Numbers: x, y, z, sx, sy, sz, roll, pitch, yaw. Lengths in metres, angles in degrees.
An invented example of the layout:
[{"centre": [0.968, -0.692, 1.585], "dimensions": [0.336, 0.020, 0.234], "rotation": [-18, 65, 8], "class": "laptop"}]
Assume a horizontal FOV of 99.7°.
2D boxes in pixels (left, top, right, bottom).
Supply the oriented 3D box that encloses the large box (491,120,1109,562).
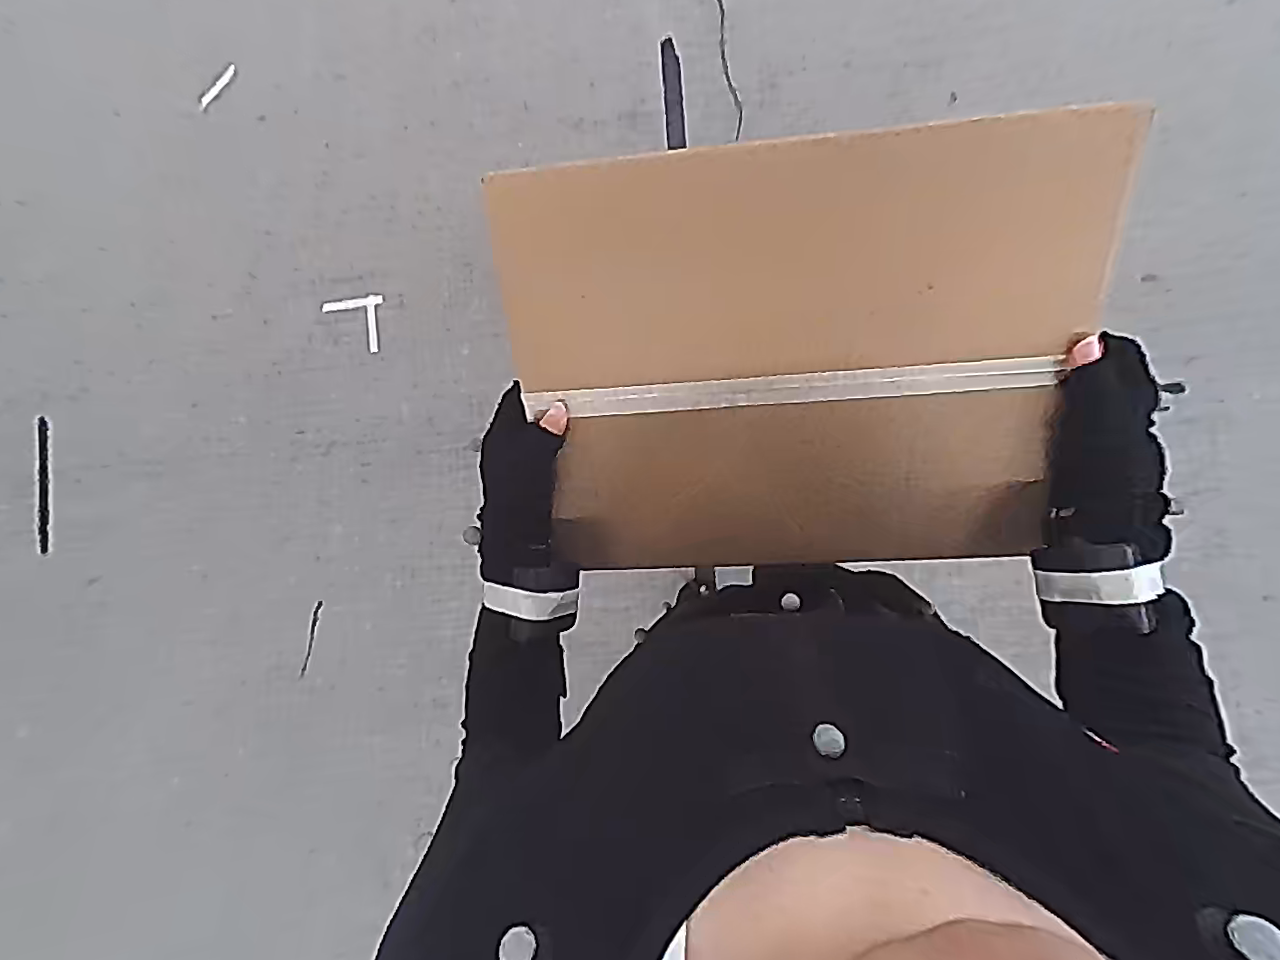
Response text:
[{"centre": [0.119, -0.138, 0.548], "dimensions": [0.408, 0.320, 0.320], "rotation": [-3, 115, 6], "class": "large box"}]
